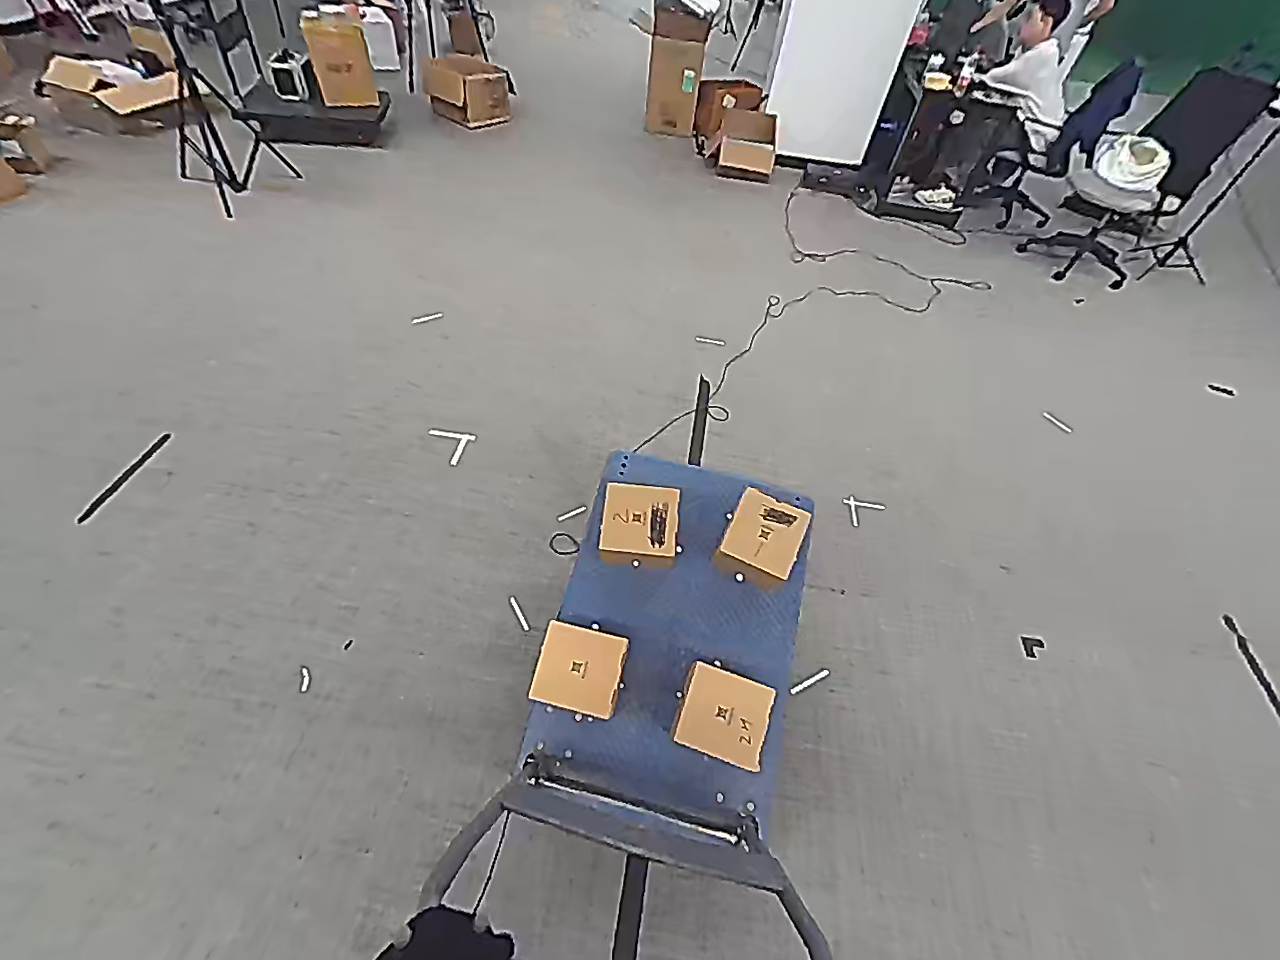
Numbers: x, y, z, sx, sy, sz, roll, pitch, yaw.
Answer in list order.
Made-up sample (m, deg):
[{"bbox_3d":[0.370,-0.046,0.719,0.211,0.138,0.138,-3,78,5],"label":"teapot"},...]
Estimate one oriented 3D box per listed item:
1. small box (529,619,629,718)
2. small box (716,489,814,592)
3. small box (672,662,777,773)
[{"bbox_3d":[-0.128,0.424,1.212,0.179,0.176,0.168,14,69,3],"label":"small box"},{"bbox_3d":[0.296,0.153,1.320,0.168,0.176,0.179,25,72,9],"label":"small box"},{"bbox_3d":[0.176,0.512,1.179,0.179,0.176,0.168,19,71,7],"label":"small box"}]
